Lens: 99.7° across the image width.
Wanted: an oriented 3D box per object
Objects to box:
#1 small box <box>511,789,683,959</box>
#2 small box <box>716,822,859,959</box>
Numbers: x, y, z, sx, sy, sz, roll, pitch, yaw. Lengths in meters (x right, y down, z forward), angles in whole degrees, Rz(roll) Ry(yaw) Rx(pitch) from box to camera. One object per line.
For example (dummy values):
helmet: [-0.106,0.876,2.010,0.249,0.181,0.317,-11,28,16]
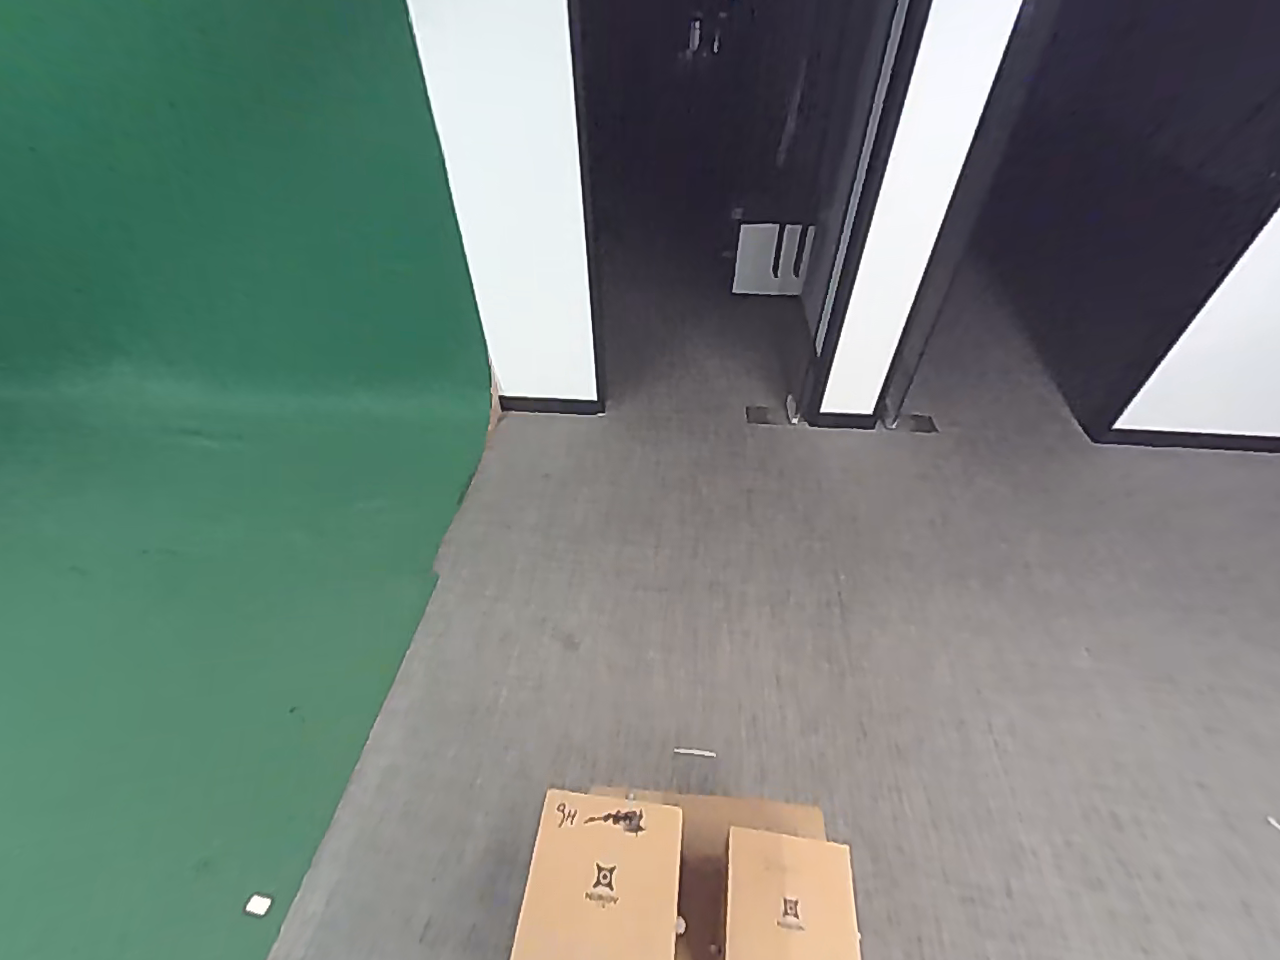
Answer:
small box: [-0.040,0.494,0.641,0.168,0.176,0.179,5,47,4]
small box: [0.197,0.610,0.750,0.168,0.176,0.179,6,44,8]
